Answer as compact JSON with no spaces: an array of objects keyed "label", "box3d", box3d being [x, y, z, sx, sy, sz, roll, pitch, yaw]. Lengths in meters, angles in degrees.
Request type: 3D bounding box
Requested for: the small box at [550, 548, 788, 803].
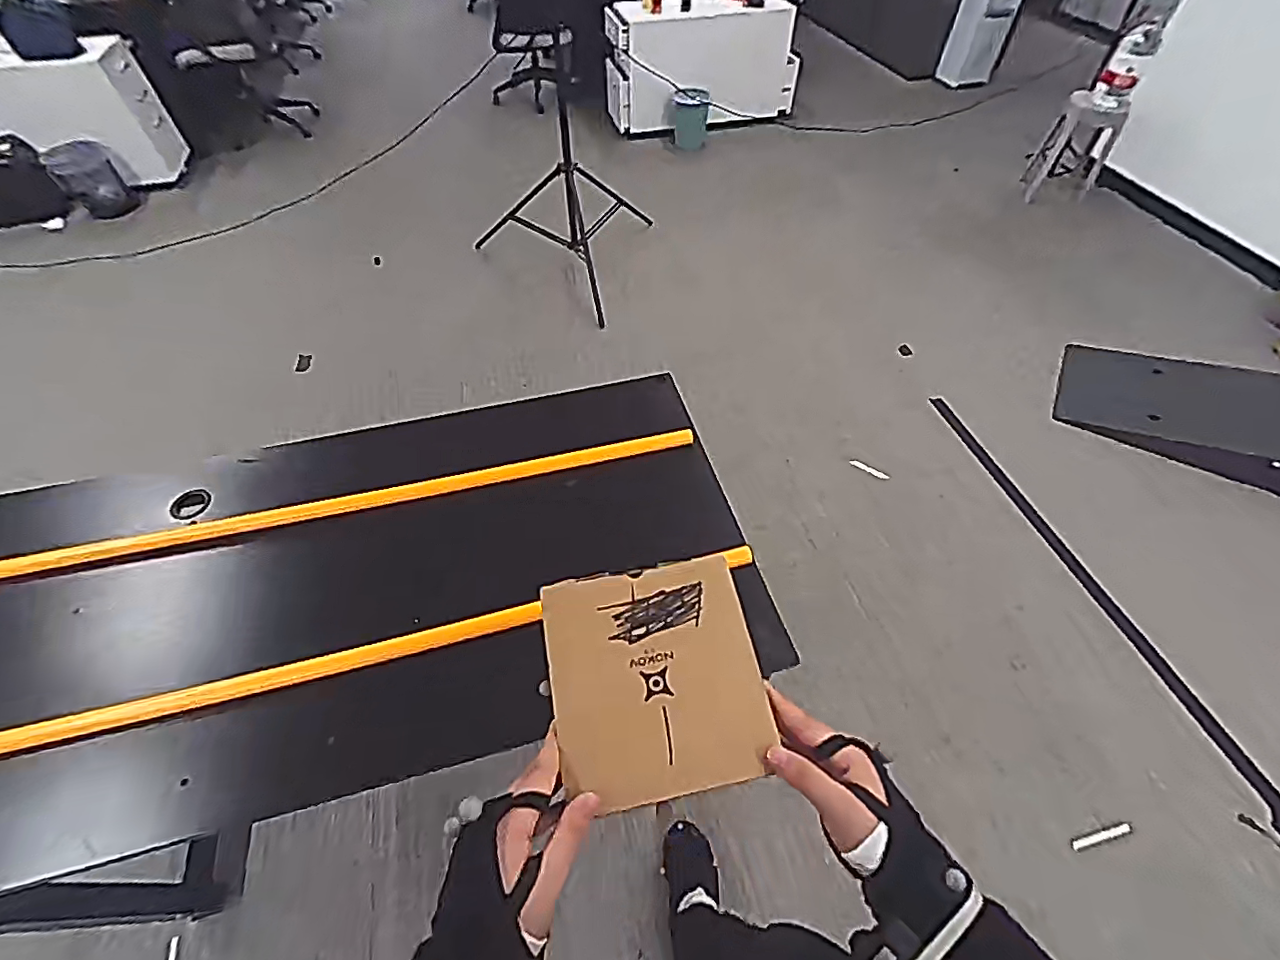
[{"label":"small box","box3d":[0.013,0.186,0.503,0.168,0.176,0.179,-9,60,-7]}]
